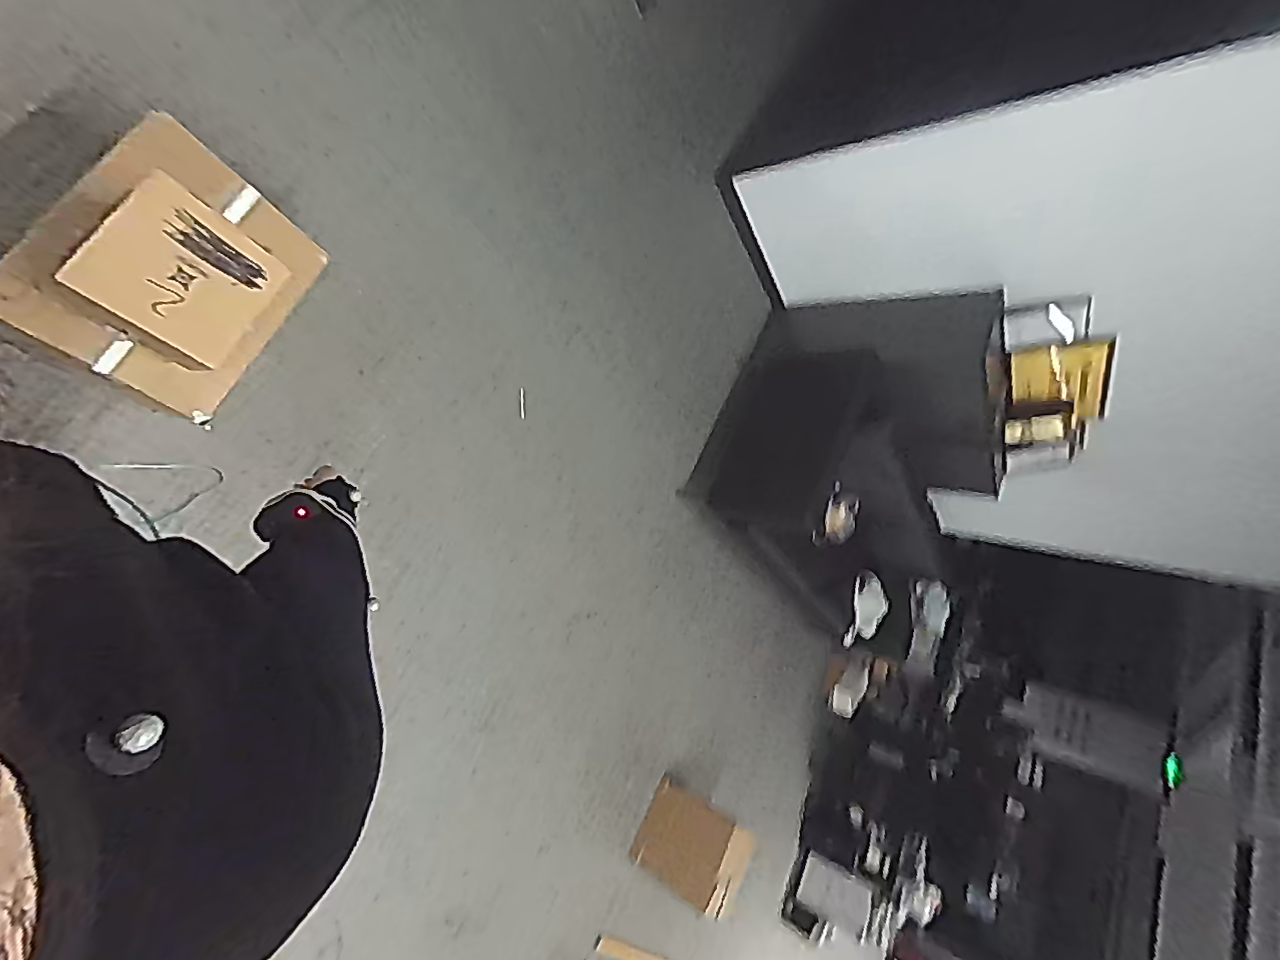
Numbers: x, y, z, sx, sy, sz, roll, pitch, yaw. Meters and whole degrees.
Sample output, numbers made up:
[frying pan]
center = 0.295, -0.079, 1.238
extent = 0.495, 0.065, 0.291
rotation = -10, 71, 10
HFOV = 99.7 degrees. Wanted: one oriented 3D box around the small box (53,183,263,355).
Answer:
[small box]
center = -0.736, -0.313, 0.831
extent = 0.179, 0.176, 0.168
rotation = 41, 68, -44
